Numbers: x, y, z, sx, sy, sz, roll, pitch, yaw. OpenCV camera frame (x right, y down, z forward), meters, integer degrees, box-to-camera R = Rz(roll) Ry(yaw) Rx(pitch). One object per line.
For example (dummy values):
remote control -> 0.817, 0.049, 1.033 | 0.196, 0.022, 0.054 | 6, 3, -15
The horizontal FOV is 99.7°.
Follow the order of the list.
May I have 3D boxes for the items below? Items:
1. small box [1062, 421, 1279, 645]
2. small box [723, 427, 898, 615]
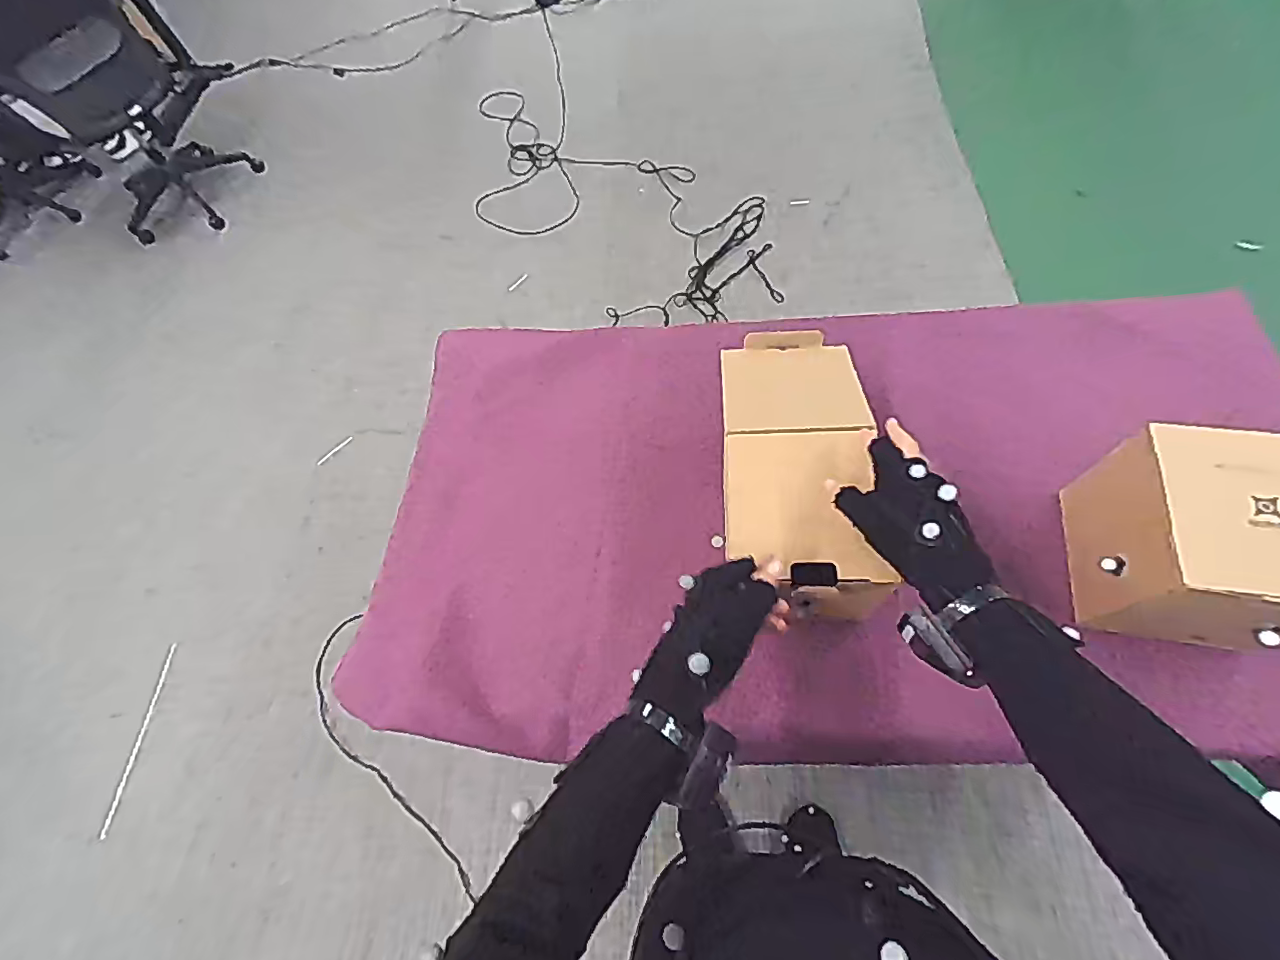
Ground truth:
small box -> 0.584, 0.062, 0.566 | 0.168, 0.176, 0.179 | 8, 65, 12
small box -> 0.183, 0.057, 0.633 | 0.168, 0.176, 0.179 | -1, 63, 8
